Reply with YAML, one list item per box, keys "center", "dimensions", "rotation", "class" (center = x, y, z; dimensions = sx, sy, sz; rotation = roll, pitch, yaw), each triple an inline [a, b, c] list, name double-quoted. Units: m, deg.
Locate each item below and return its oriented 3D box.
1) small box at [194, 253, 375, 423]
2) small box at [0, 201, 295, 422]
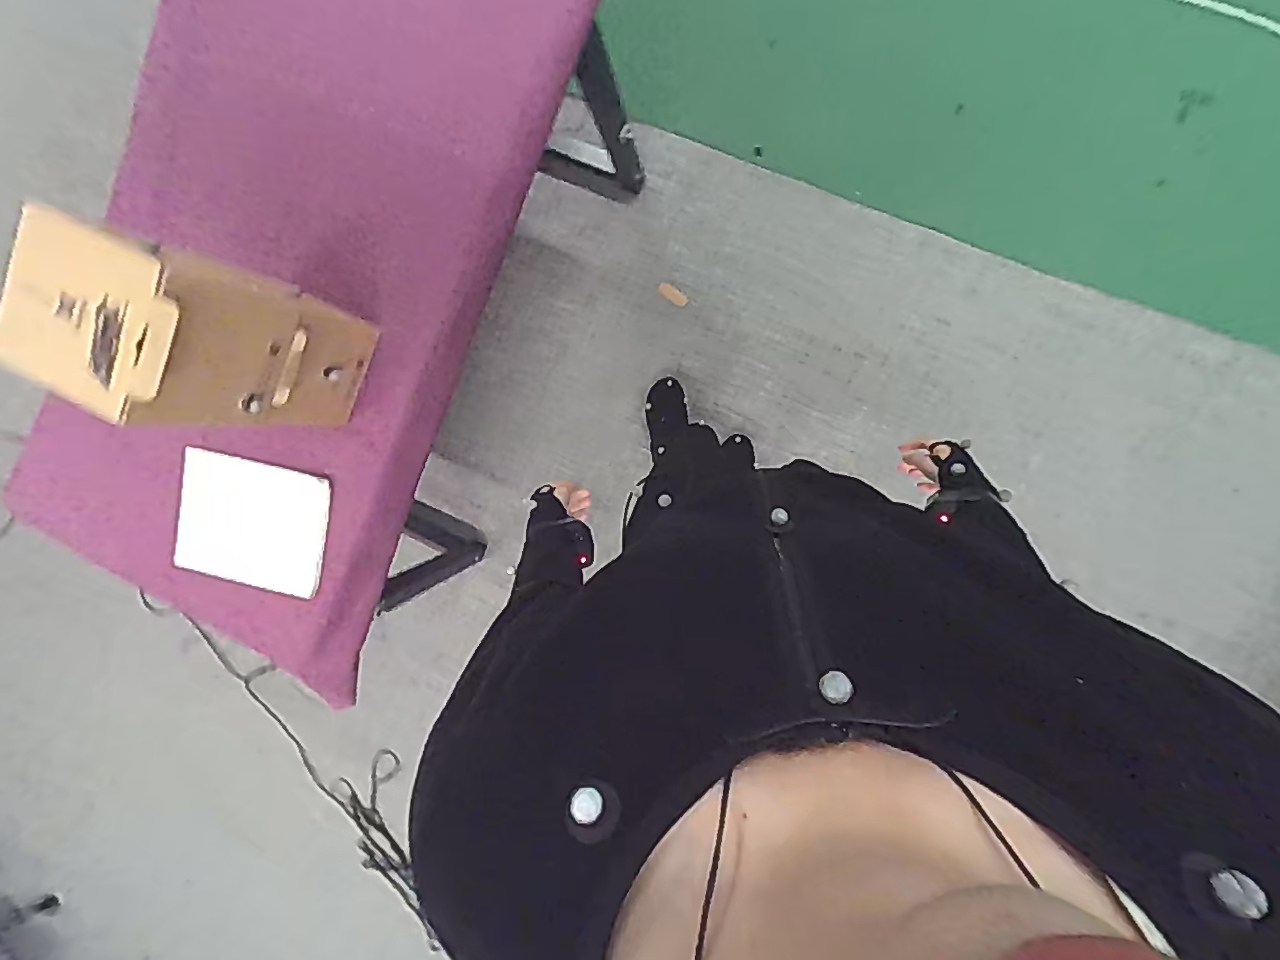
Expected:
- center: [-0.522, -0.192, 0.778]
  dimensions: [0.179, 0.176, 0.168]
  rotation: [25, 98, 5]
  class: "small box"
- center: [-0.542, -0.176, 0.614]
  dimensions: [0.179, 0.176, 0.168]
  rotation: [26, 98, 7]
  class: "small box"
